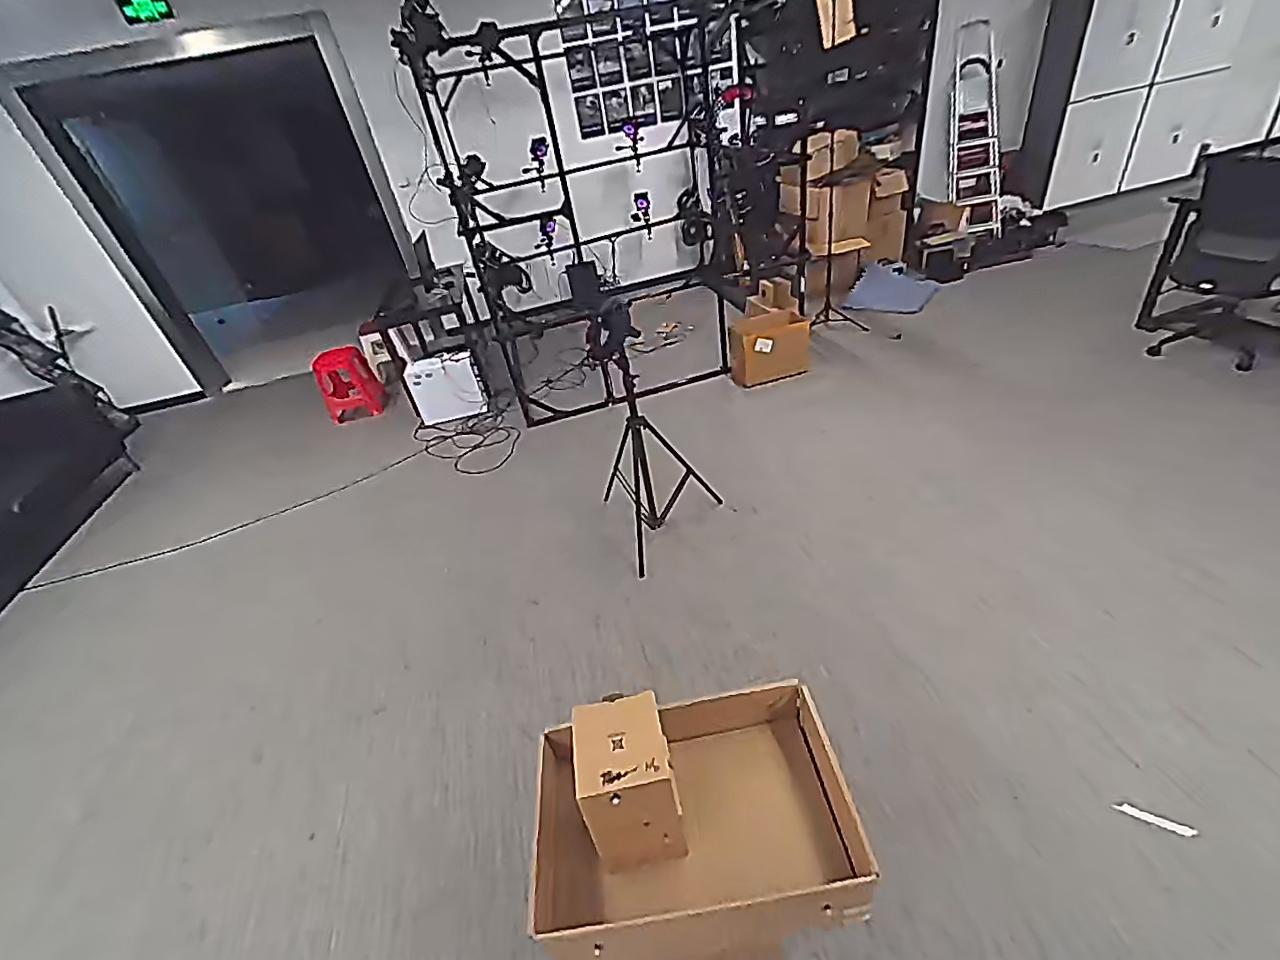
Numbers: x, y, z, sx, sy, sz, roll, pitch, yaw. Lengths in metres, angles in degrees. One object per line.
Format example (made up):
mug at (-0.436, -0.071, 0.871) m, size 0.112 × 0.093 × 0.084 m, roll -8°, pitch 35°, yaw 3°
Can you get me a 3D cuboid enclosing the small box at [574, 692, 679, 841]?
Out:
small box at (-0.027, 0.541, 1.025) m, size 0.168 × 0.176 × 0.179 m, roll -11°, pitch 34°, yaw -3°
